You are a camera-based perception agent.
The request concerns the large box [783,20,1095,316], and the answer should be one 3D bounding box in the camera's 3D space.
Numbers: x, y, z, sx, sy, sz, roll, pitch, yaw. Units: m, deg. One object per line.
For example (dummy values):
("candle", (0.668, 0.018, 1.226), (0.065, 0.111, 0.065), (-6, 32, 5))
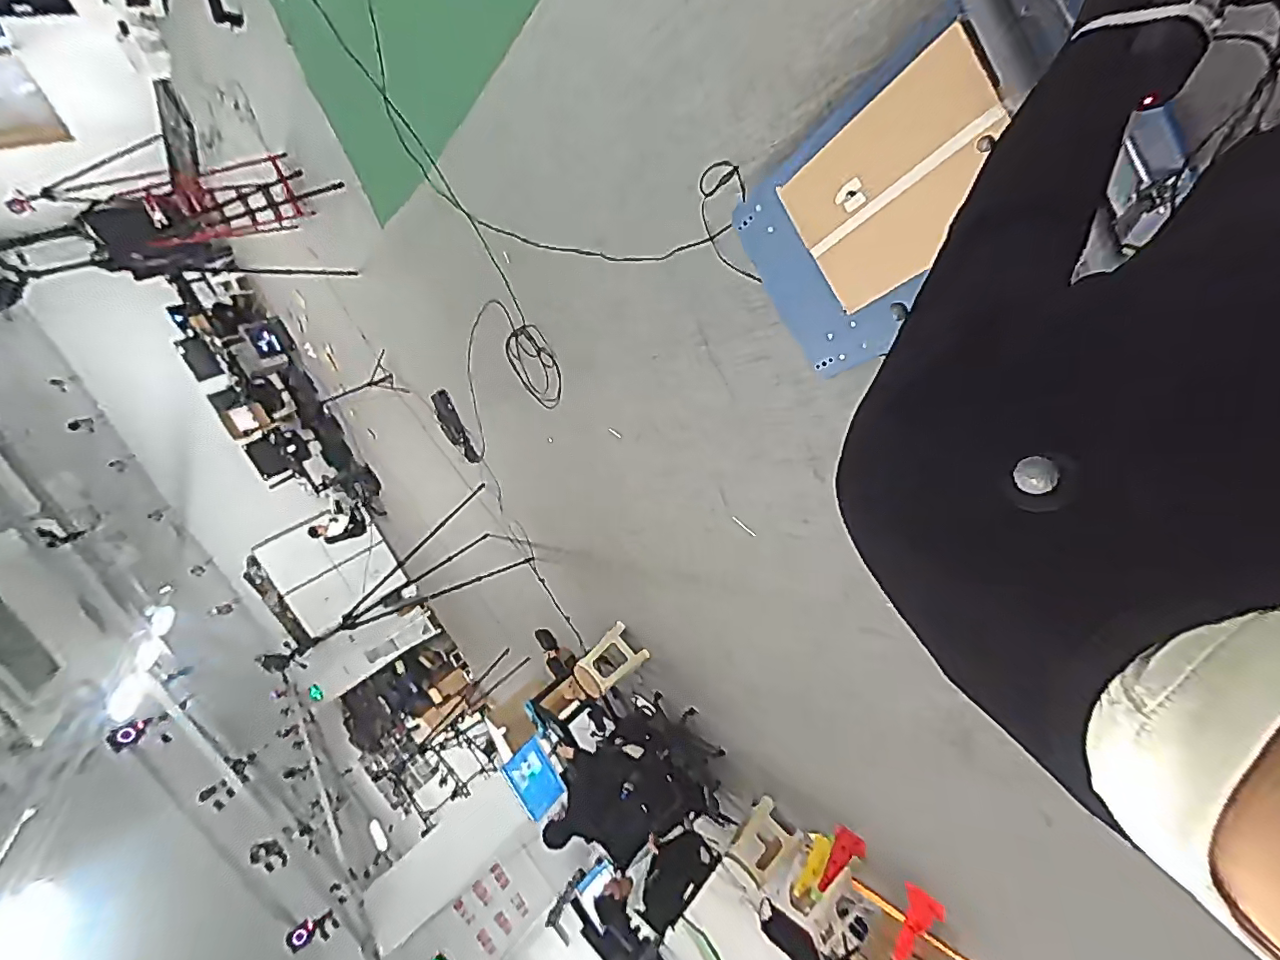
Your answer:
("large box", (0.586, -0.608, 1.097), (0.320, 0.320, 0.408), (59, 148, -4))
